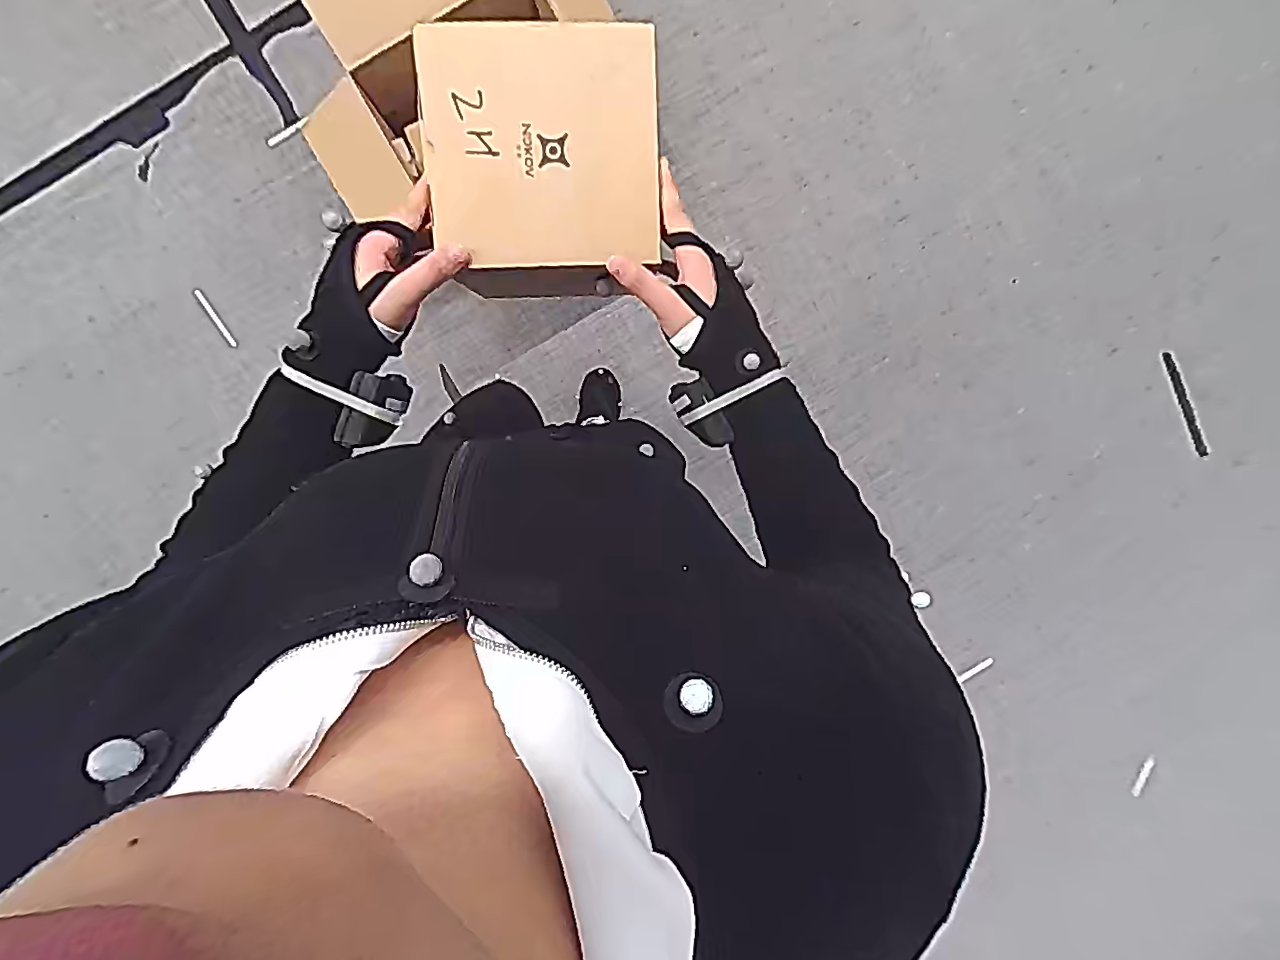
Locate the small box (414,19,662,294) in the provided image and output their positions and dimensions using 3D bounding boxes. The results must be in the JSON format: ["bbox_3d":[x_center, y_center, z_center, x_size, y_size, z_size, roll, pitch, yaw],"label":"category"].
[{"bbox_3d":[-0.077,-0.264,0.481,0.179,0.176,0.168,-3,101,-2],"label":"small box"}]
